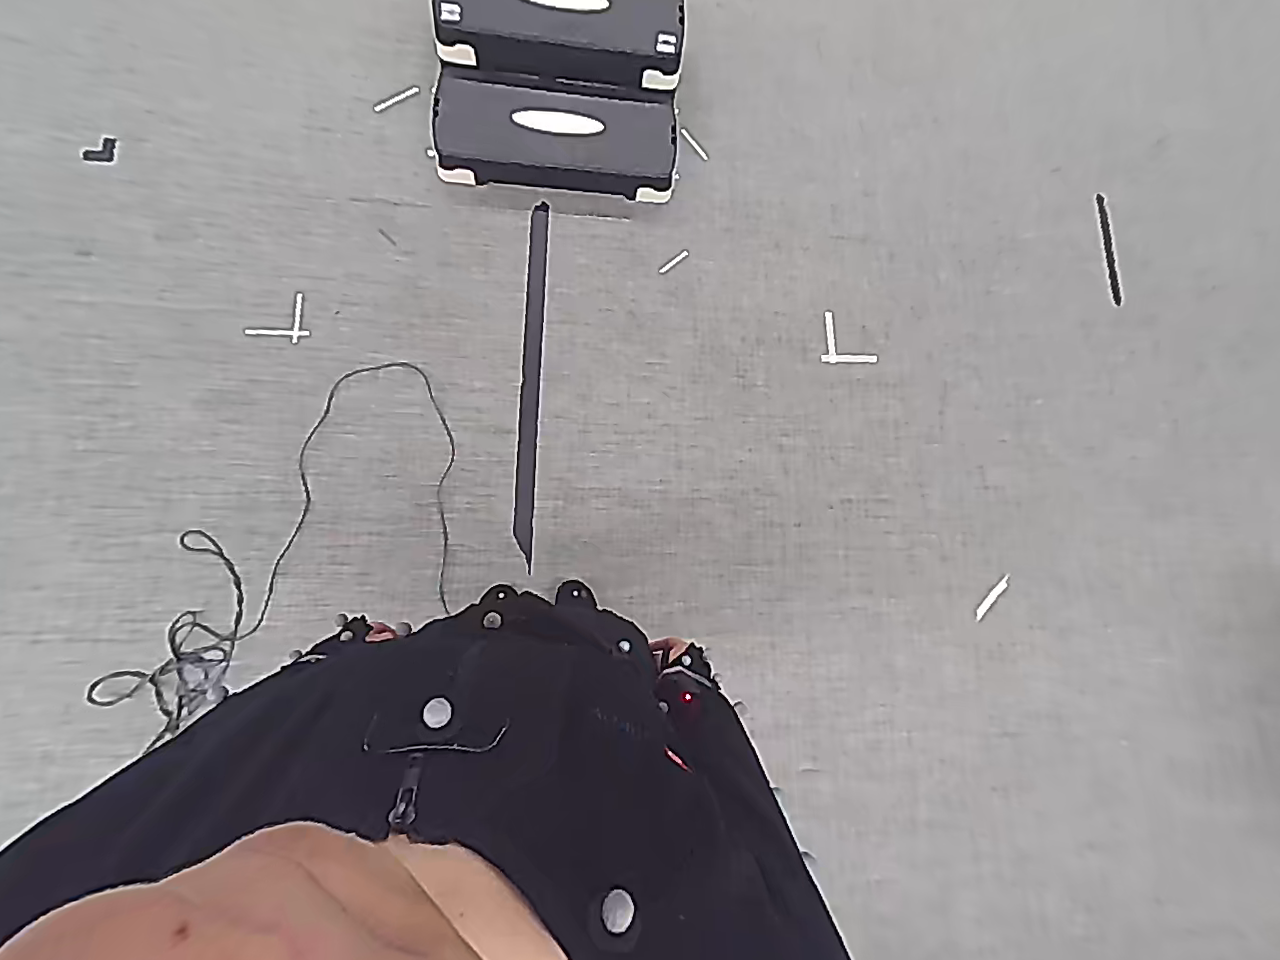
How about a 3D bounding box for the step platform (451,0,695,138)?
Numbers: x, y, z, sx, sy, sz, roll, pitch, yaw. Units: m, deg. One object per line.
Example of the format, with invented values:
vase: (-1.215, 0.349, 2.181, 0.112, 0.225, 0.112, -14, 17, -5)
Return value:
step platform: (-0.183, -1.226, 1.557, 0.684, 0.204, 0.286, 6, 79, -7)
